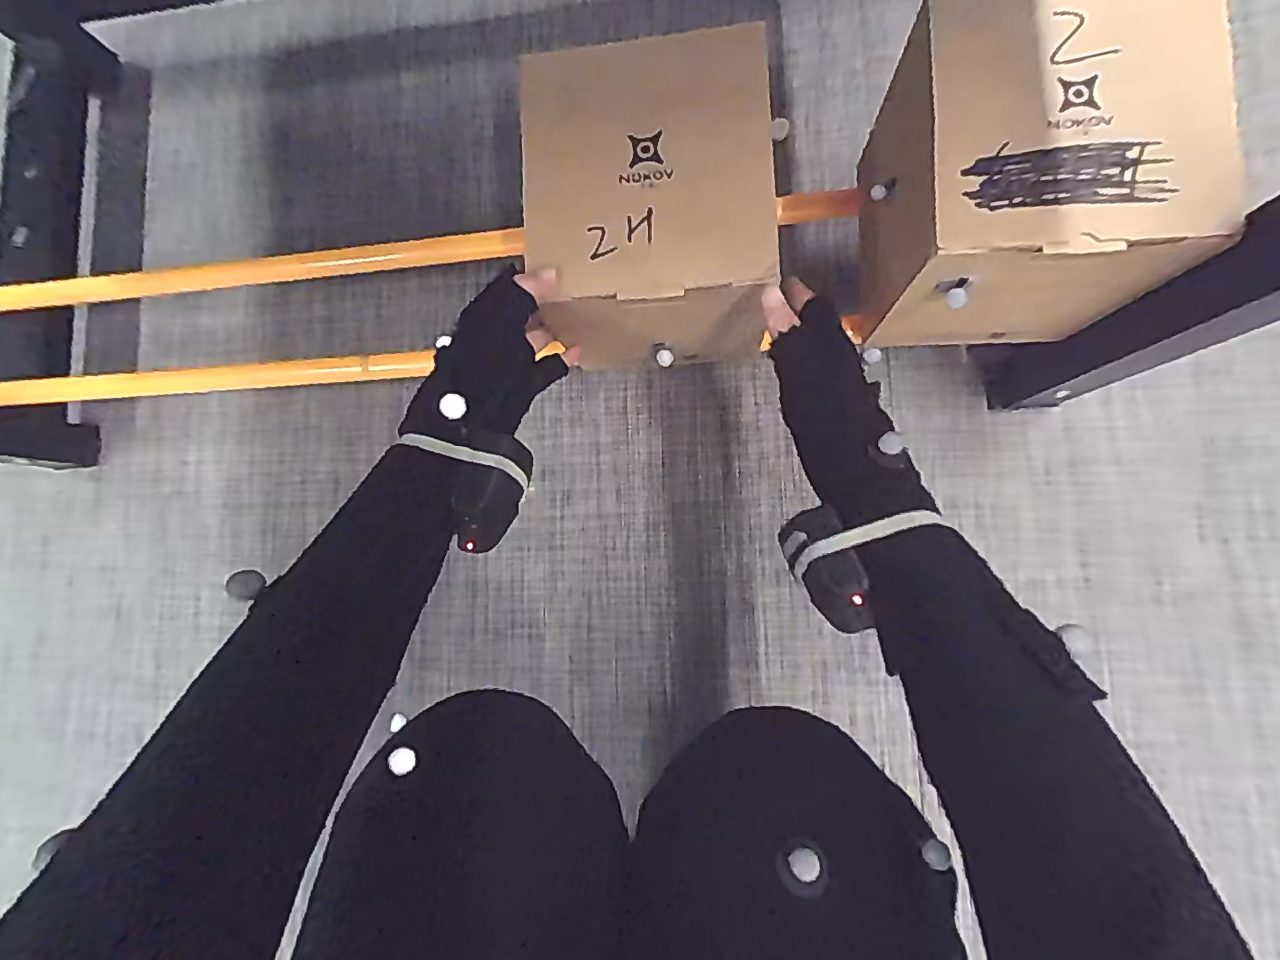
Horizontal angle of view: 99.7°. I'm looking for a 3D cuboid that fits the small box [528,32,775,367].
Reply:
[{"bbox_3d":[0.014,-0.205,0.443,0.168,0.176,0.179,-3,86,8],"label":"small box"}]
